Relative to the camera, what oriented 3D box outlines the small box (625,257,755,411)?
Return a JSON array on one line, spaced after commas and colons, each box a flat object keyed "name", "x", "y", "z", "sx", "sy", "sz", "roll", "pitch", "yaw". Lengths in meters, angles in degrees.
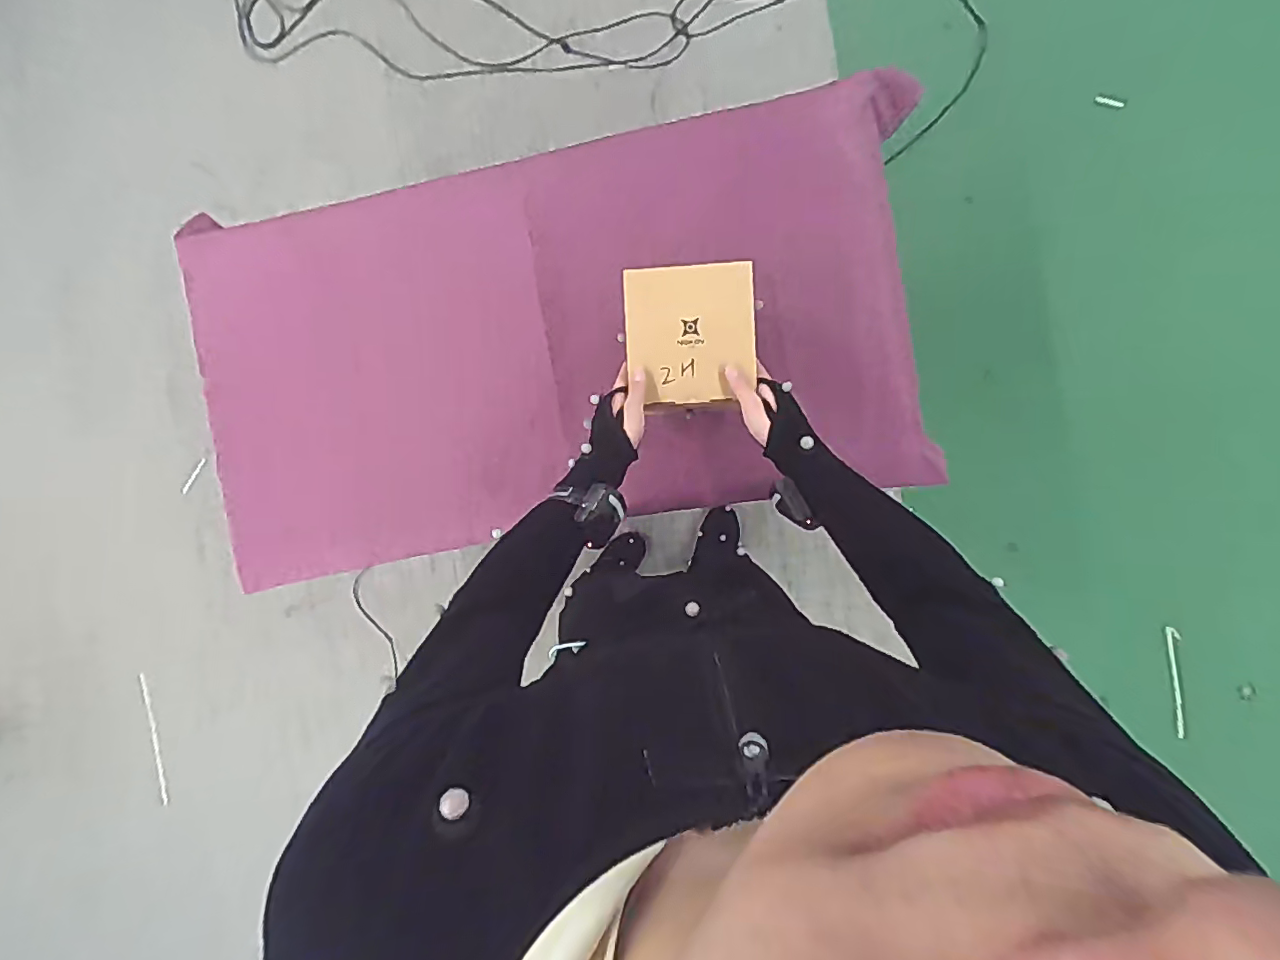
[{"name": "small box", "x": 0.068, "y": -0.194, "z": 0.762, "sx": 0.168, "sy": 0.176, "sz": 0.179, "roll": -2, "pitch": 93, "yaw": 5}]
